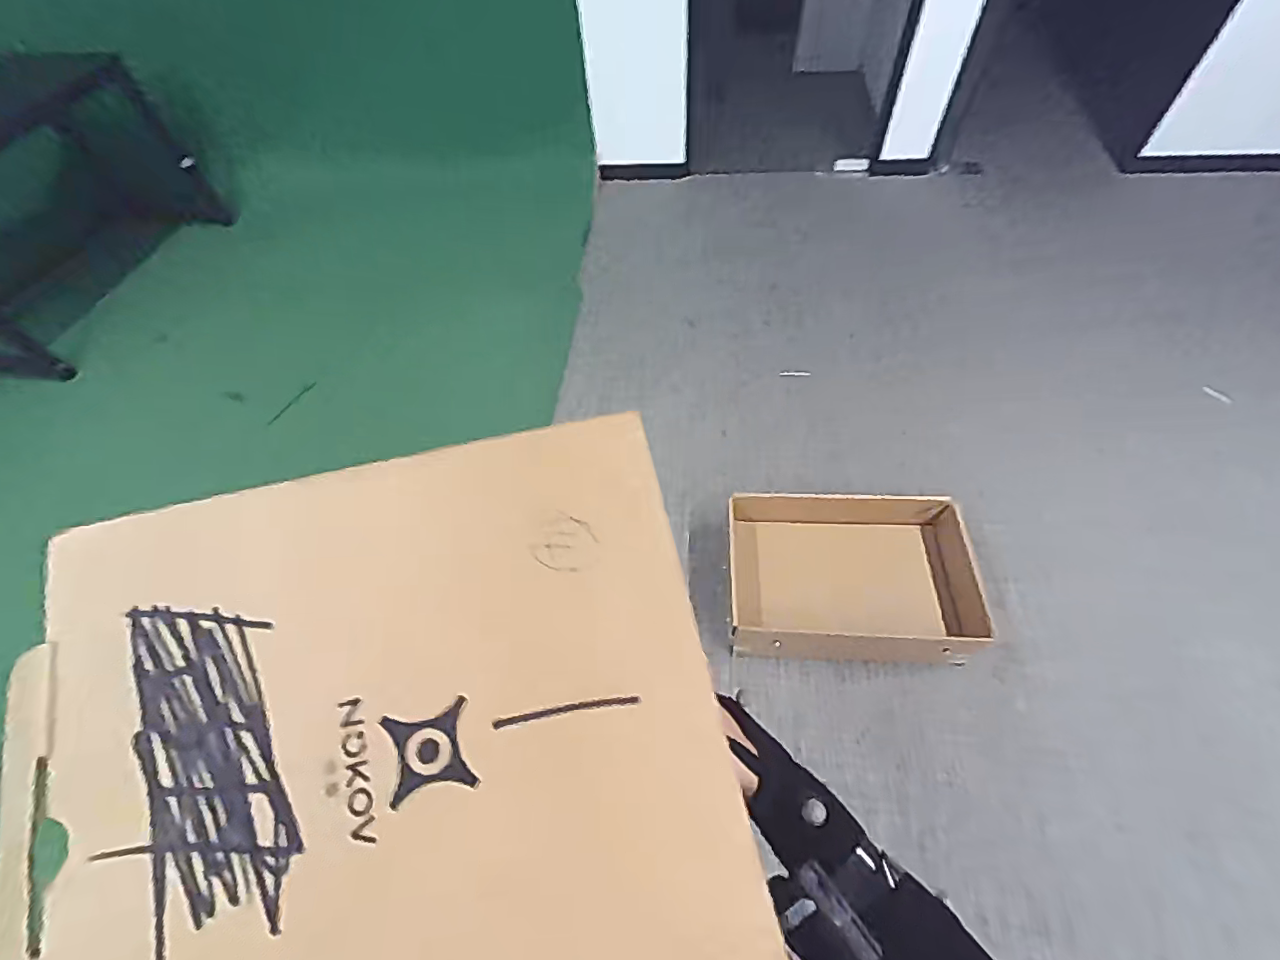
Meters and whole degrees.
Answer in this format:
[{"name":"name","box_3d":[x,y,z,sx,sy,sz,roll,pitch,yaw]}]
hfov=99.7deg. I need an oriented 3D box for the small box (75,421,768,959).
[{"name":"small box","box_3d":[-0.069,0.096,0.231,0.179,0.176,0.168,-13,75,-6]}]
